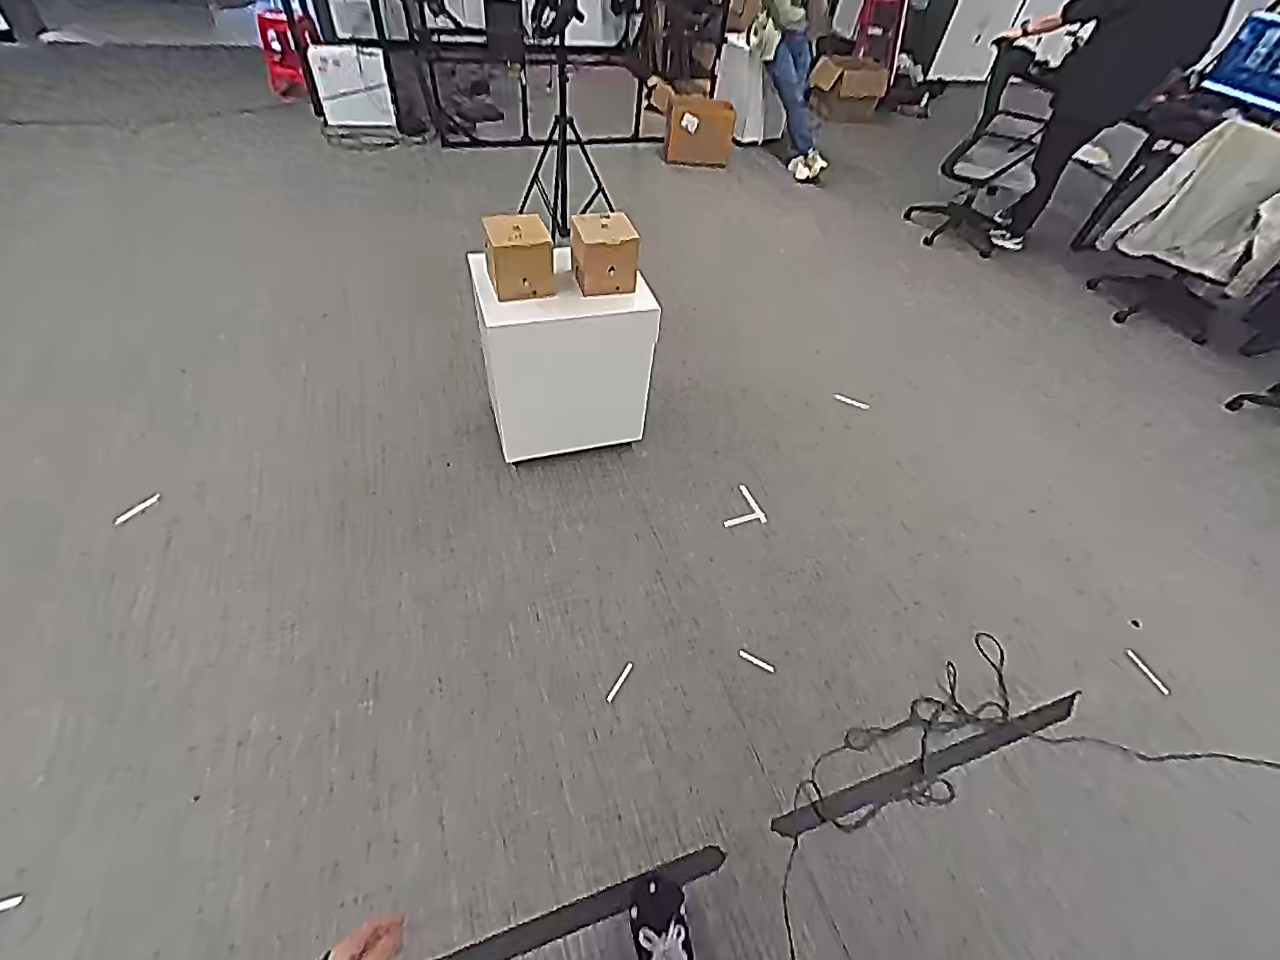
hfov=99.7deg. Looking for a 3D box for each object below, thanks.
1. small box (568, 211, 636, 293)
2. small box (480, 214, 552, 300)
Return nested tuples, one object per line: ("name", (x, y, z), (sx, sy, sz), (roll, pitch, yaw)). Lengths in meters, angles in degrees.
("small box", (-0.114, -0.675, 1.616), (0.168, 0.176, 0.179), (-11, 53, -14))
("small box", (-0.355, -0.642, 1.557), (0.168, 0.176, 0.179), (-14, 53, -17))
